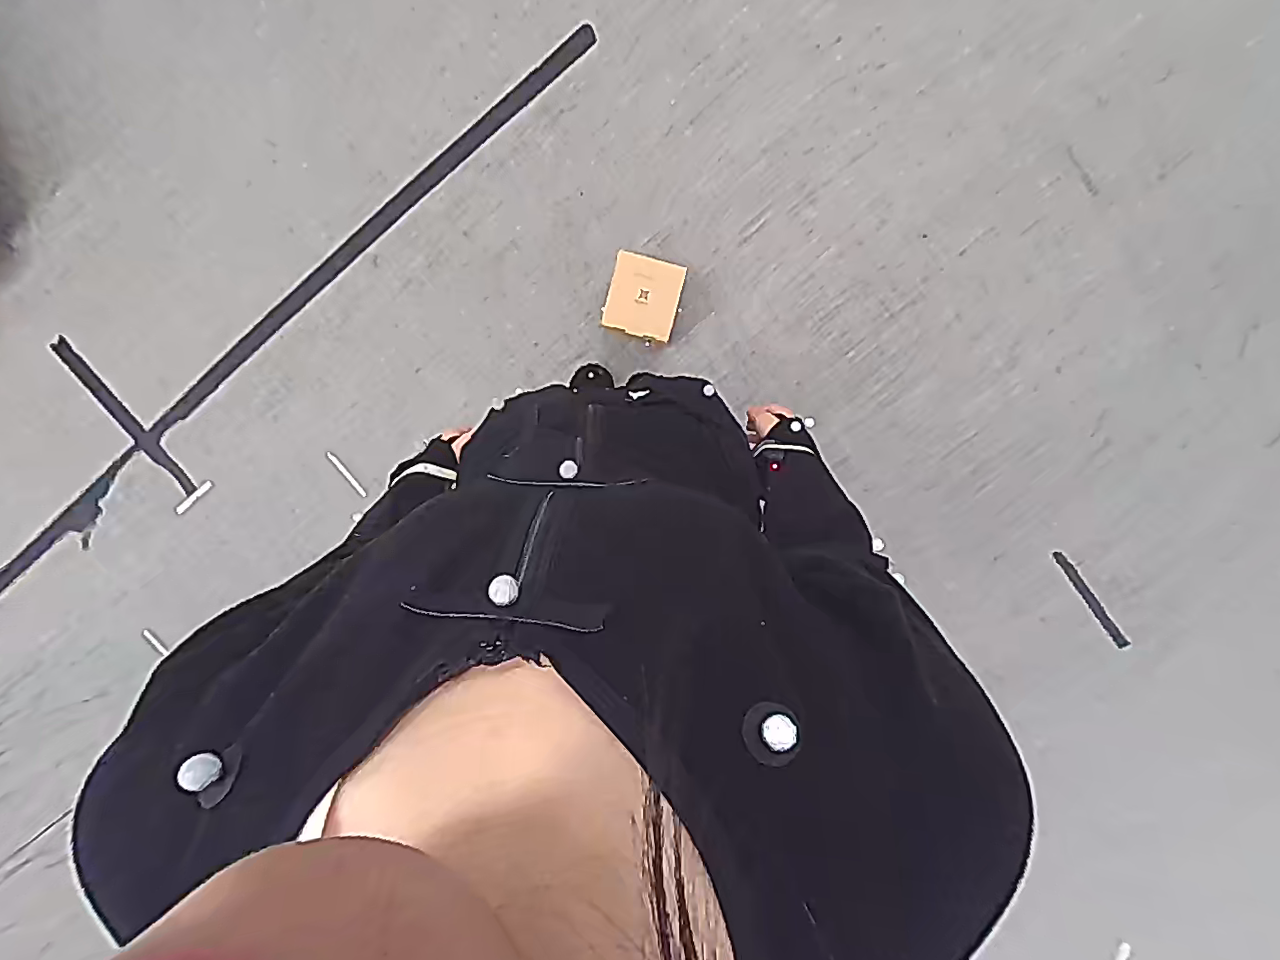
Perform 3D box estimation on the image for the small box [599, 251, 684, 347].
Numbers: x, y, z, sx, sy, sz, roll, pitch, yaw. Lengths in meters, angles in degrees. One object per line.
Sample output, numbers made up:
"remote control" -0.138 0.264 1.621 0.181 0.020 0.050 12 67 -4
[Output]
"small box" 0.005 -0.437 1.336 0.168 0.176 0.179 14 99 -3
